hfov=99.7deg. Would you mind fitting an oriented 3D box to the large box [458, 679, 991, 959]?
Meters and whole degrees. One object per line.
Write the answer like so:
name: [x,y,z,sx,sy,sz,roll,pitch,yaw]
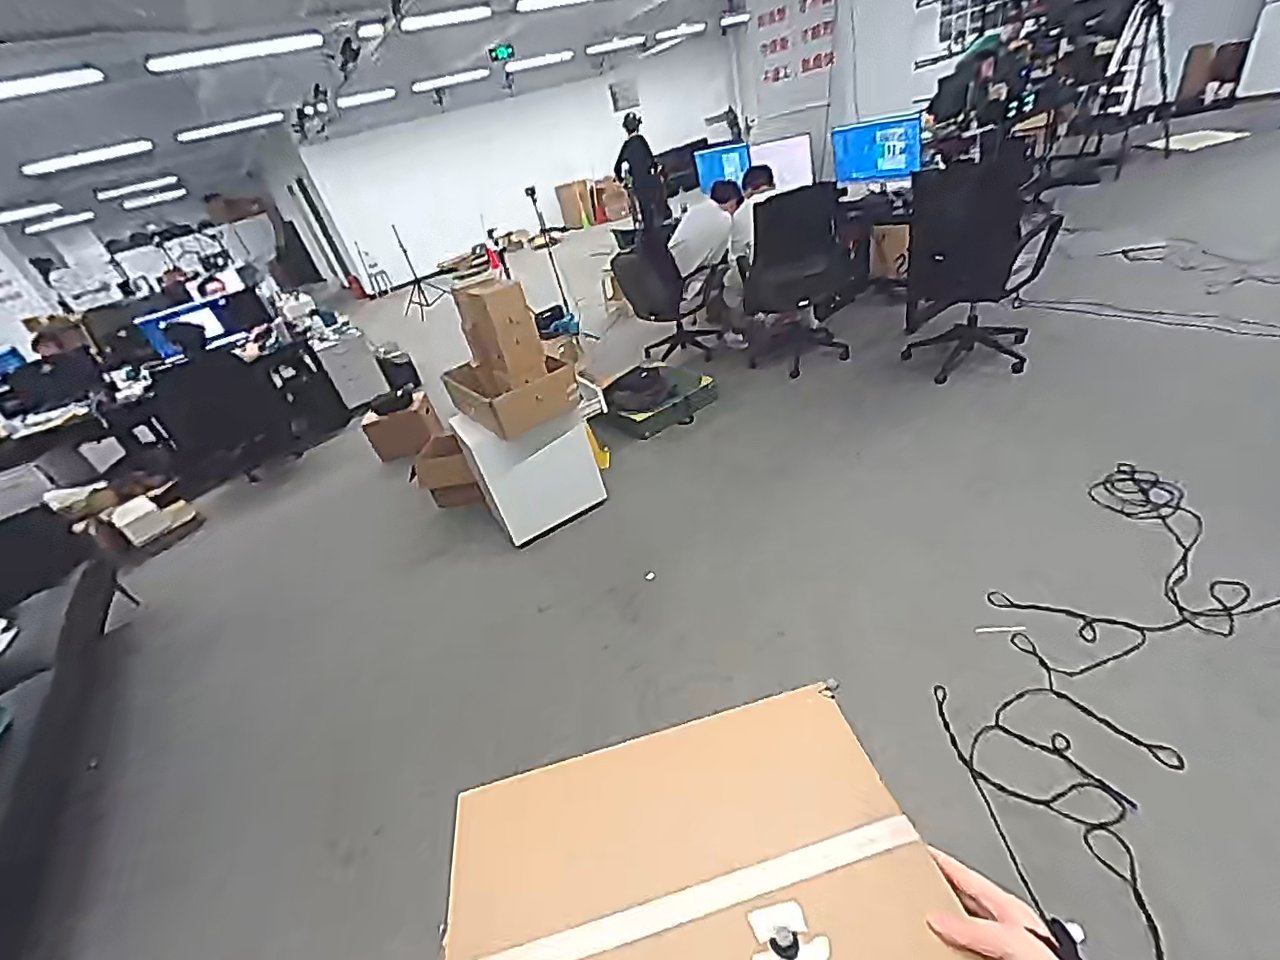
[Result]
large box: [0.063,0.471,0.537,0.408,0.320,0.320,-14,33,-6]
